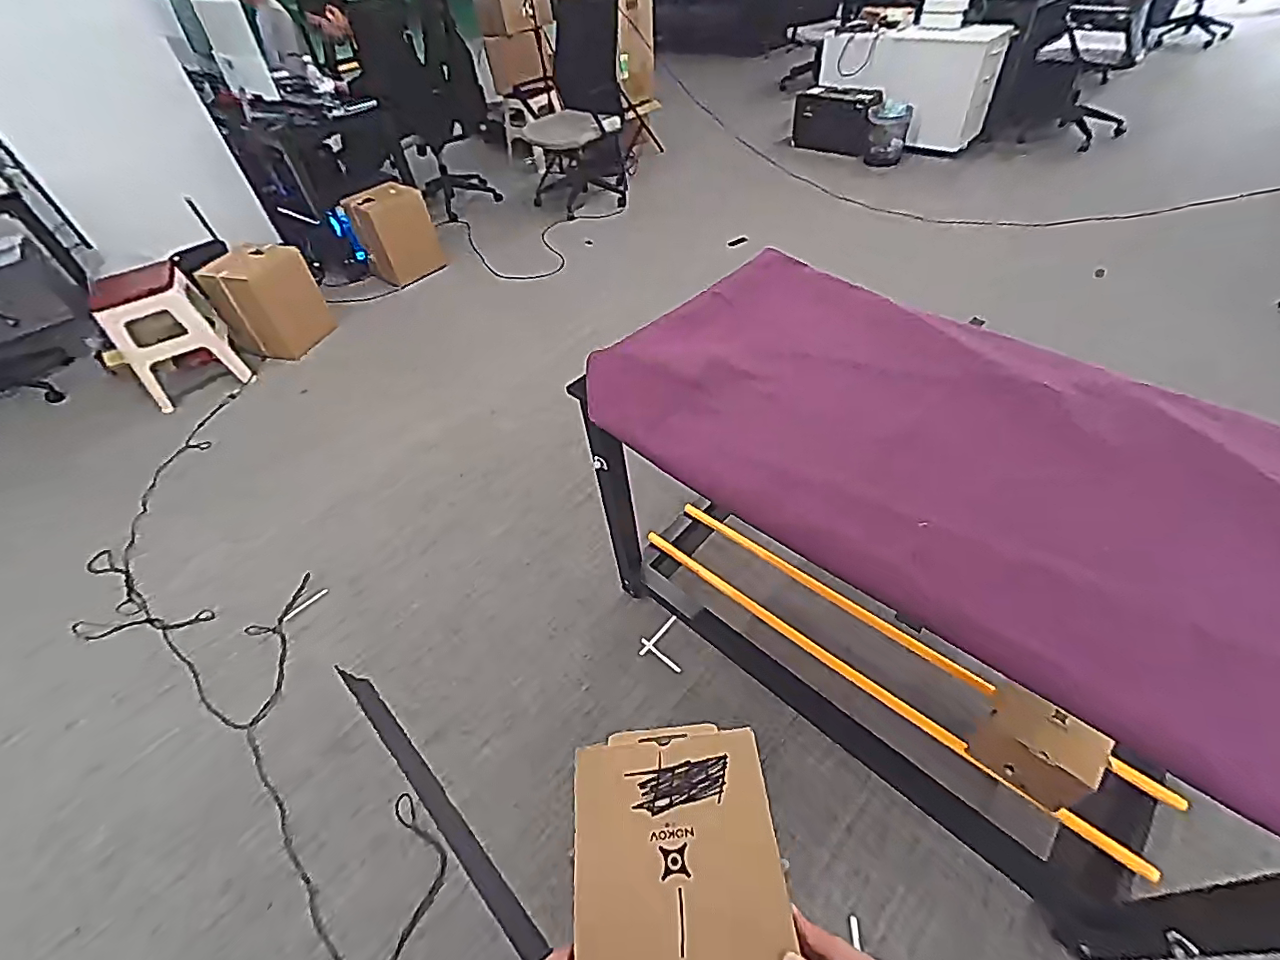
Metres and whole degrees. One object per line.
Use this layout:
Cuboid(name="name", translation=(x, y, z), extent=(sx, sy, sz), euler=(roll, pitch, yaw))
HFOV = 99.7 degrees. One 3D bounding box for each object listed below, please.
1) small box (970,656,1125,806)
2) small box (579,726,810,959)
Cuboid(name="small box", translation=(0.771, 0.483, 1.040), extent=(0.168, 0.176, 0.179), euler=(31, 60, 32))
Cuboid(name="small box", translation=(0.040, 0.349, 0.485), extent=(0.168, 0.176, 0.179), euler=(-7, 44, 1))
